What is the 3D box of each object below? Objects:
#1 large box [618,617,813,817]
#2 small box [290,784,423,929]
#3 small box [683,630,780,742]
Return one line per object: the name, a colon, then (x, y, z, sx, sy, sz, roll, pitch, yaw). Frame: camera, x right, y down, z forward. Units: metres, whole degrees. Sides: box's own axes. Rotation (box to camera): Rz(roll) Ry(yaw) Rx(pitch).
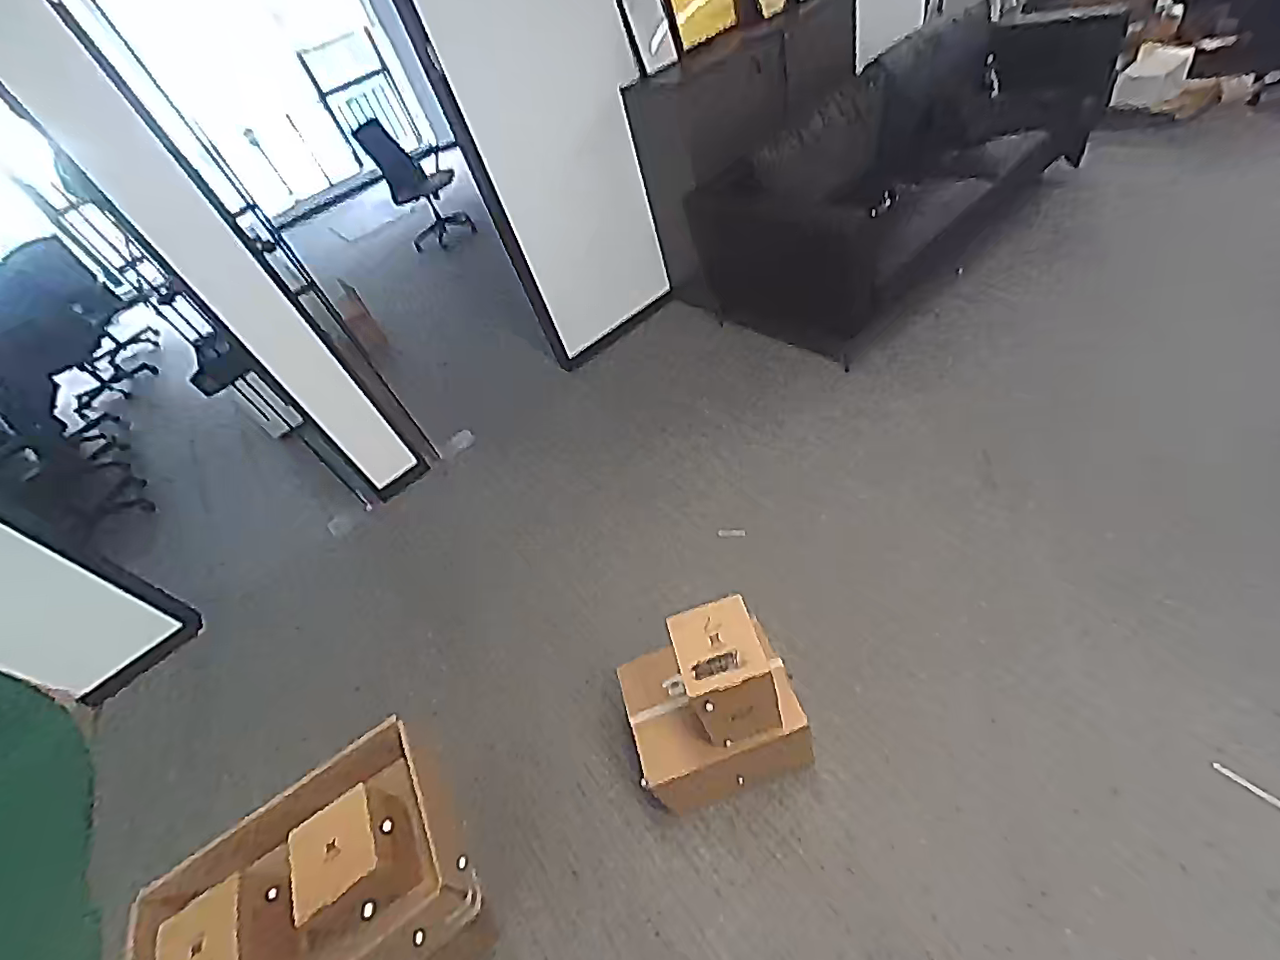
large box: (0.203, 0.635, 1.444, 0.408, 0.320, 0.320, -23, 44, 0)
small box: (-0.575, 0.771, 1.104, 0.168, 0.176, 0.179, -33, 47, -11)
small box: (0.212, 0.479, 1.239, 0.168, 0.176, 0.179, -19, 46, 2)
